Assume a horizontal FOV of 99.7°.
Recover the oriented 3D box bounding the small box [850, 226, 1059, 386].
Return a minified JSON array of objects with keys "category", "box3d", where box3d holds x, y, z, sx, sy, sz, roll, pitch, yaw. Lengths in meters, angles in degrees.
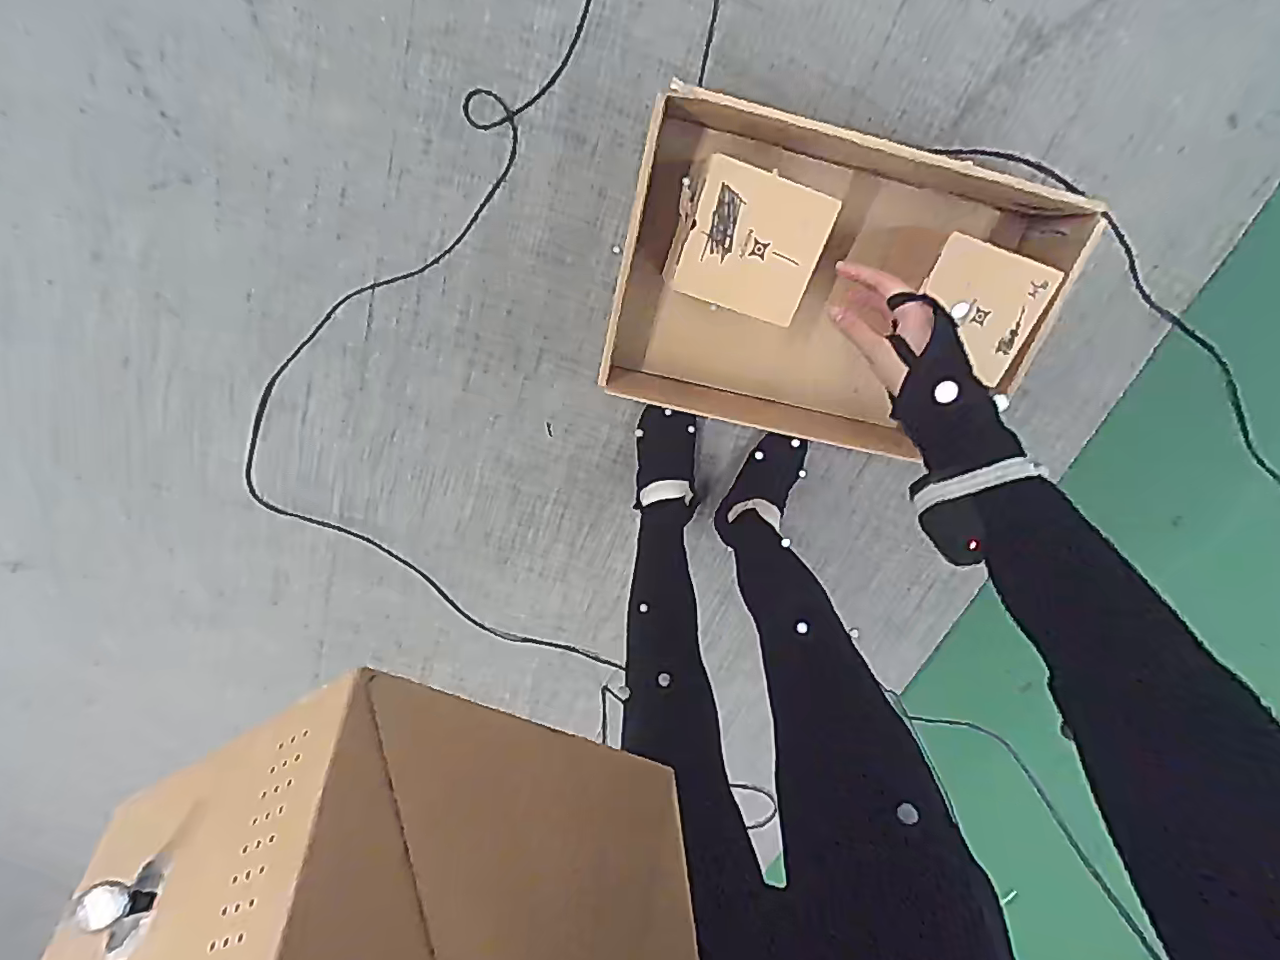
[{"category":"small box","box3d":[0.448,-0.263,0.806,0.179,0.176,0.168,17,115,-9]}]
